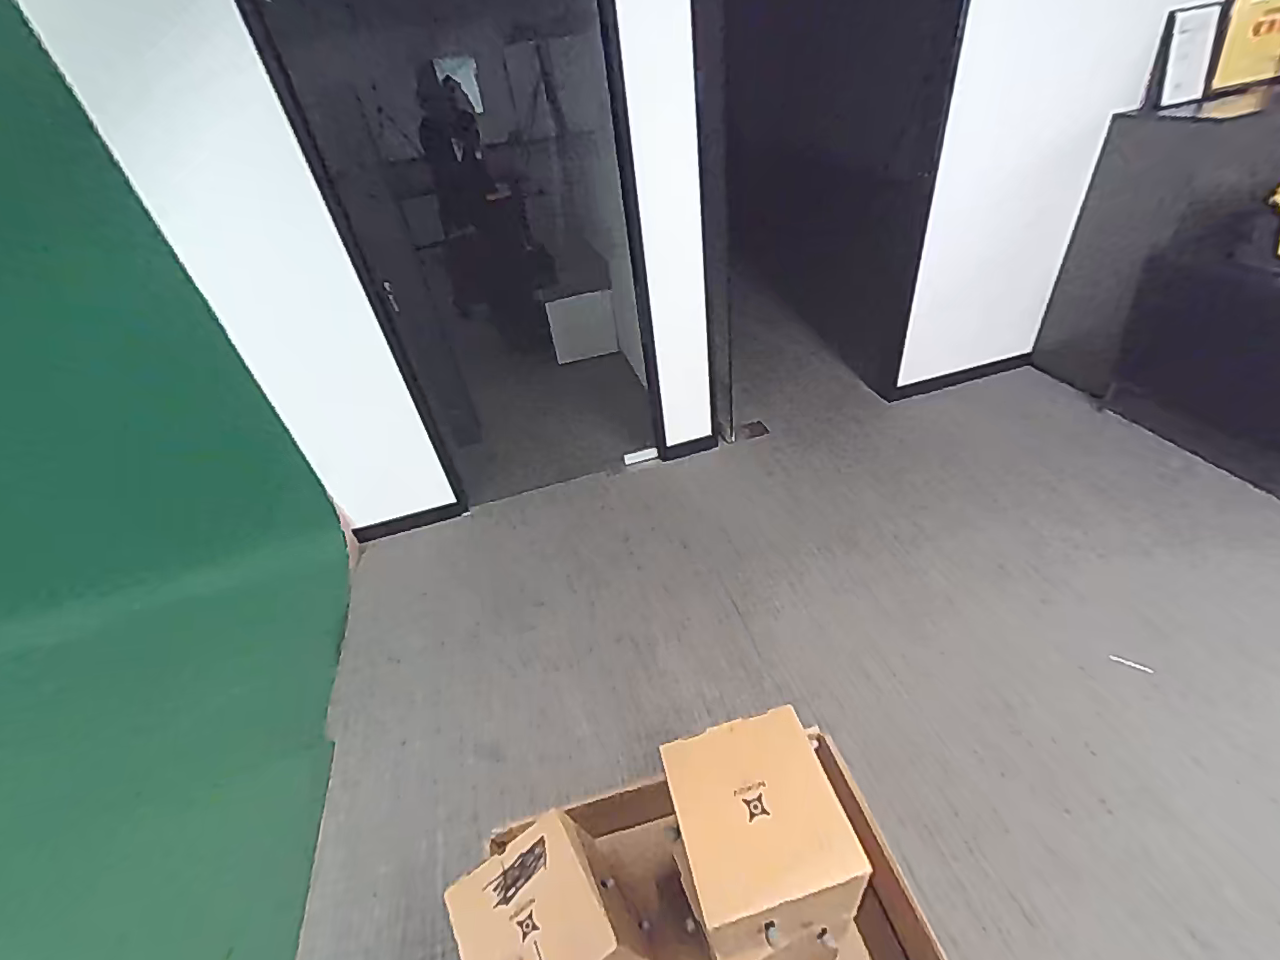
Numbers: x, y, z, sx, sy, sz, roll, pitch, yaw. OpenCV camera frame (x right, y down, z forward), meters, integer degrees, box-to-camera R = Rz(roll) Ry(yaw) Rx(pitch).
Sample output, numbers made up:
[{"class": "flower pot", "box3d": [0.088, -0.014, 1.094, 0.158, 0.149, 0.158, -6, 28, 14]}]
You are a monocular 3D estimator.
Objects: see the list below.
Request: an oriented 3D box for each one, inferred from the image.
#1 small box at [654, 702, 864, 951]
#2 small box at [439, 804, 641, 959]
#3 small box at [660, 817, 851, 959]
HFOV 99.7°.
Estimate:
[{"class": "small box", "box3d": [0.126, 0.391, 0.607, 0.168, 0.176, 0.179, -16, 38, -5]}, {"class": "small box", "box3d": [-0.123, 0.565, 0.686, 0.168, 0.176, 0.179, -33, 44, -14]}, {"class": "small box", "box3d": [0.144, 0.521, 0.702, 0.179, 0.176, 0.168, -21, 39, -11]}]
